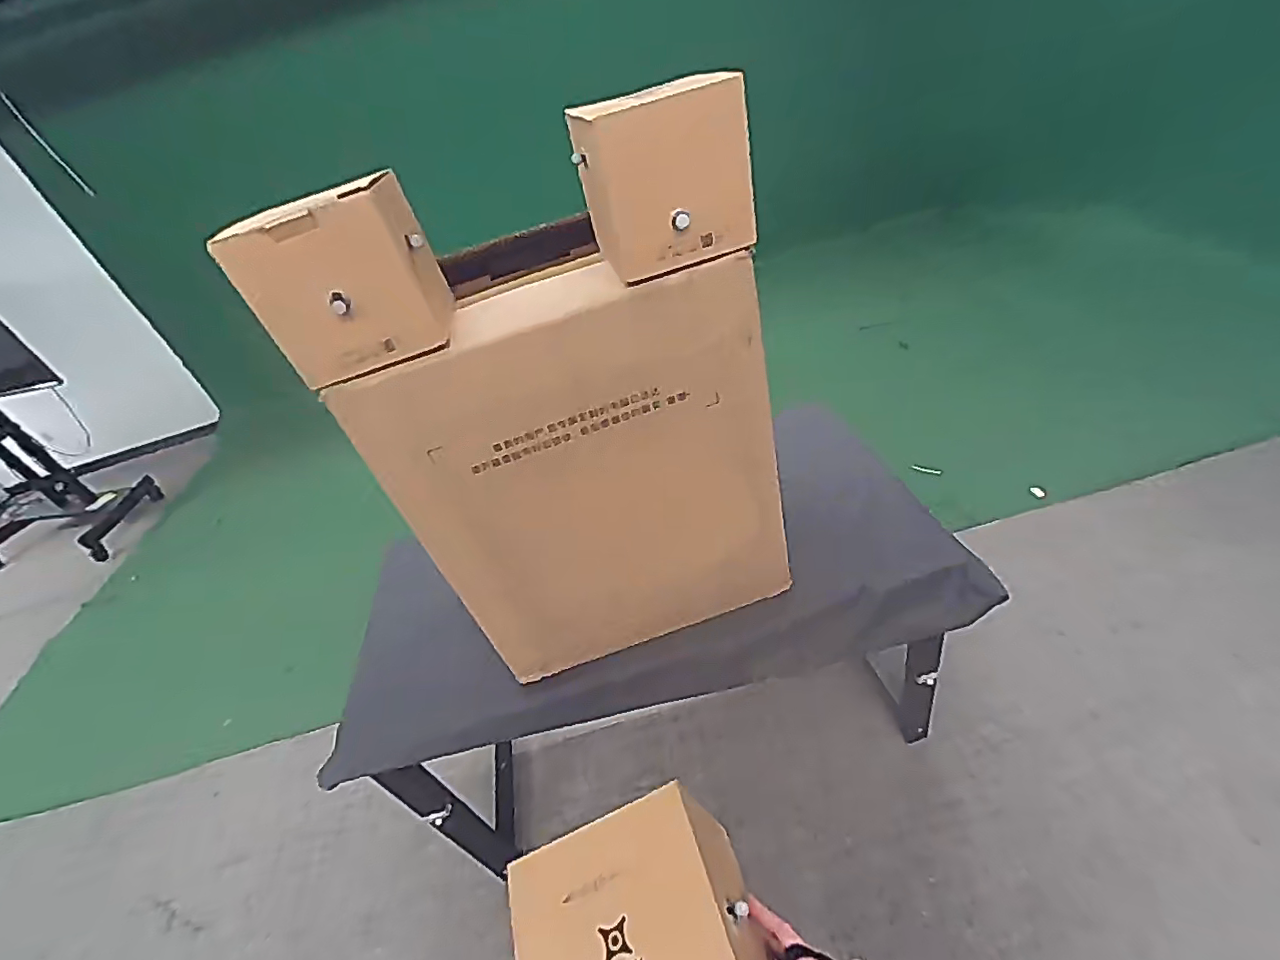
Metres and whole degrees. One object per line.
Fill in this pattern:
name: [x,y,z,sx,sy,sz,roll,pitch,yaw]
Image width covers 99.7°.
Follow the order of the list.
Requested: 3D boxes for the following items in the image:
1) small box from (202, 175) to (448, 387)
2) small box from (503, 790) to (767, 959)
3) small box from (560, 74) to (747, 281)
small box: [-0.342,-0.228,0.633,0.168,0.176,0.179,-20,38,-1]
small box: [0.009,0.401,0.448,0.168,0.176,0.179,-27,40,1]
small box: [0.015,-0.357,0.643,0.168,0.176,0.179,-19,38,-2]
